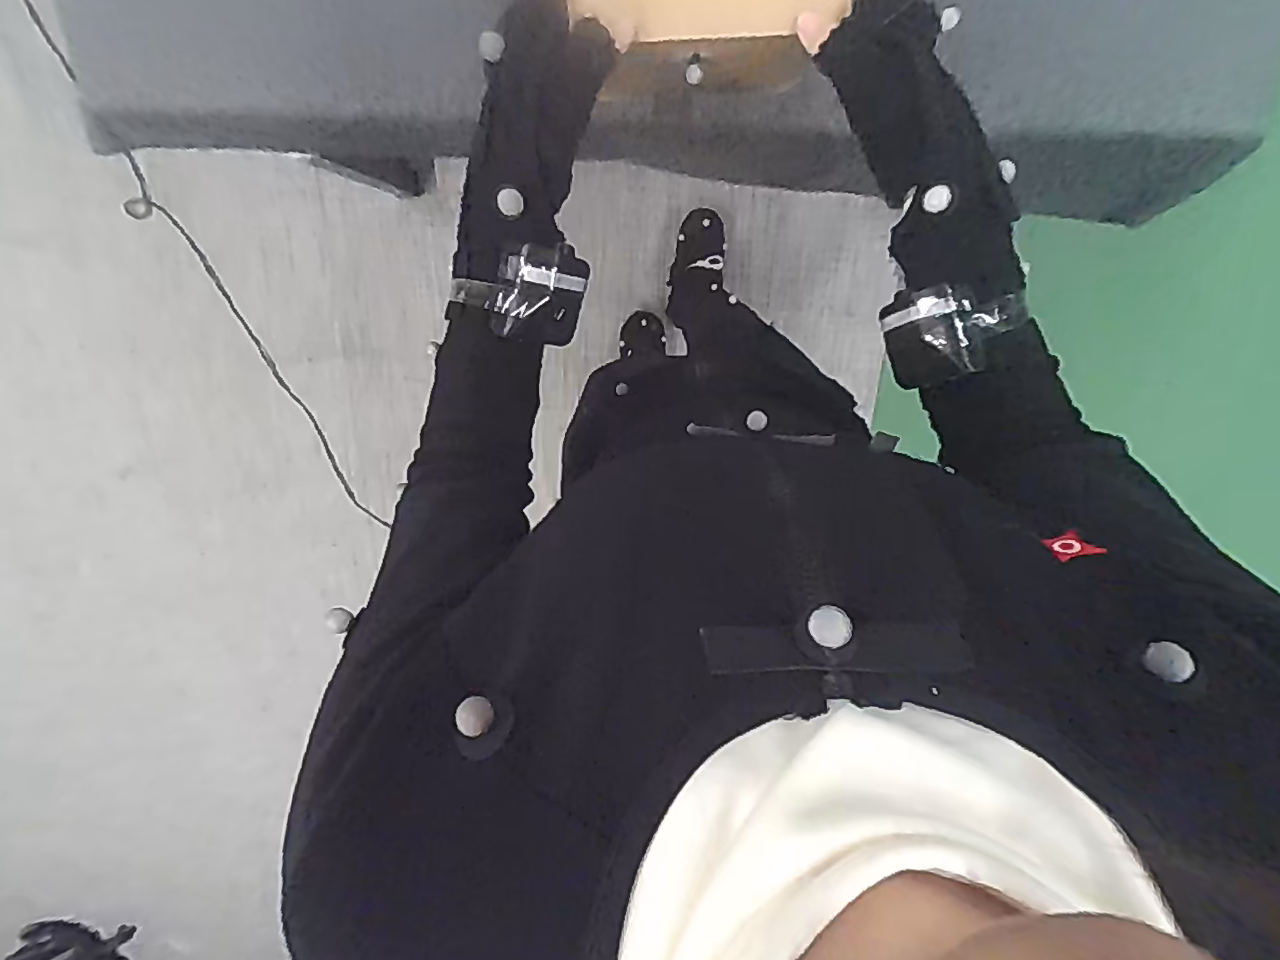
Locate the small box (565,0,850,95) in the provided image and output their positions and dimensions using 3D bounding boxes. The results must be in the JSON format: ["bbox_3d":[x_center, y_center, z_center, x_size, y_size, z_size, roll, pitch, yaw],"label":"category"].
[{"bbox_3d":[0.040,-0.384,0.374,0.179,0.176,0.168,-2,116,1],"label":"small box"}]
